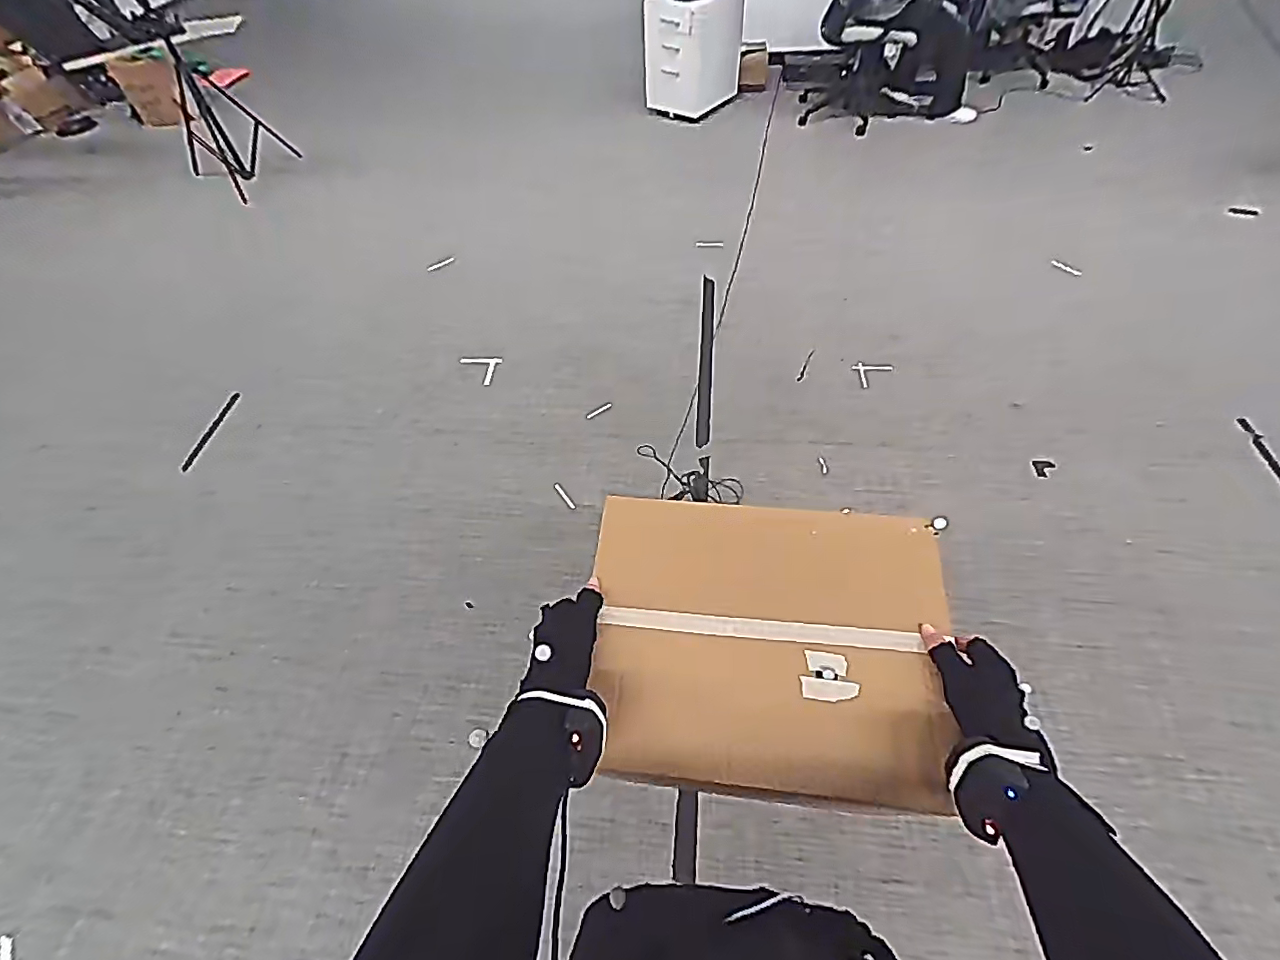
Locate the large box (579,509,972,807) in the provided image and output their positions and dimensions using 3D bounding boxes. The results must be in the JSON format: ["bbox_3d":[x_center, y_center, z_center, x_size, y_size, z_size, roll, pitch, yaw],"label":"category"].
[{"bbox_3d":[0.153,0.255,0.751,0.408,0.320,0.320,4,60,6],"label":"large box"}]
